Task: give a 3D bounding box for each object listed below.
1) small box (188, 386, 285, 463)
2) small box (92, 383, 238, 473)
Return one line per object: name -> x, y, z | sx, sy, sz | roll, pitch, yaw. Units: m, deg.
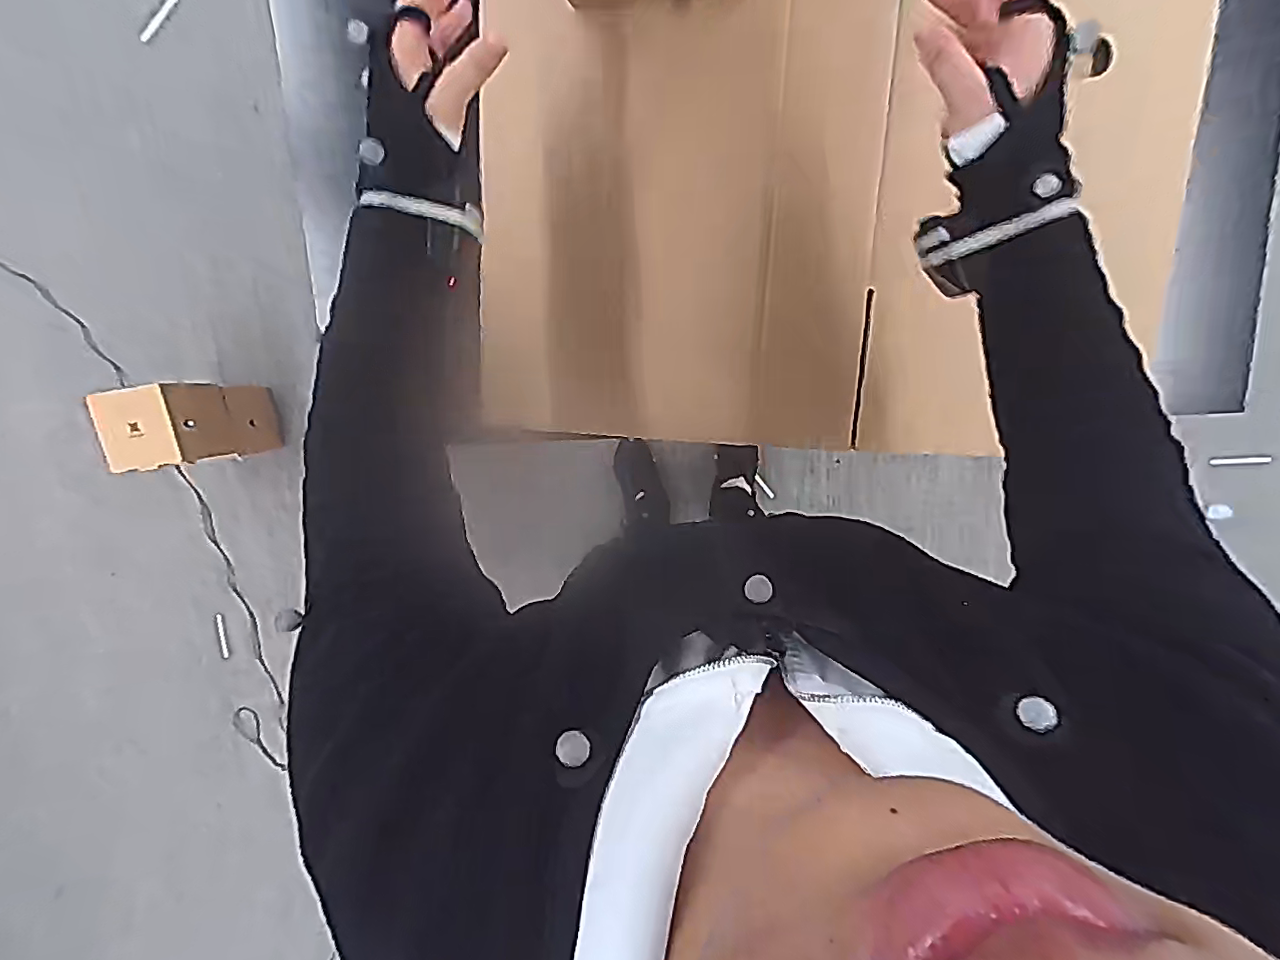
small box -> -1.071, -0.148, 1.406 | 0.168, 0.176, 0.179 | -7, 101, 3
small box -> -1.076, -0.125, 1.244 | 0.168, 0.176, 0.179 | -9, 99, 2
